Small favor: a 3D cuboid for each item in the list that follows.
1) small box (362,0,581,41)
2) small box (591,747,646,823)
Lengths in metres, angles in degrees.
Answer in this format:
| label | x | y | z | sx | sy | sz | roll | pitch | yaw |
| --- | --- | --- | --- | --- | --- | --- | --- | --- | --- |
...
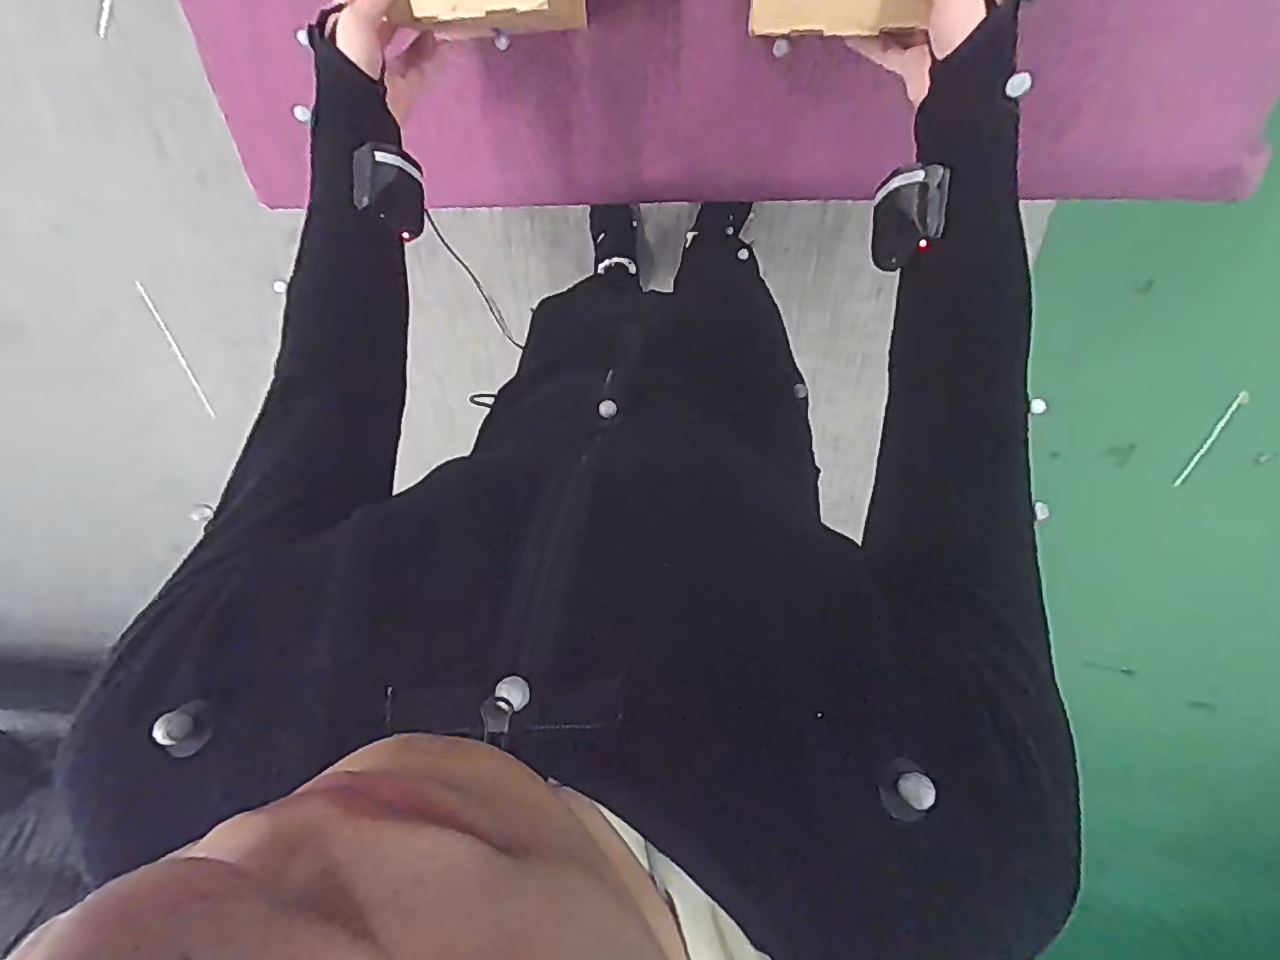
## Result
| label | x | y | z | sx | sy | sz | roll | pitch | yaw |
| --- | --- | --- | --- | --- | --- | --- | --- | --- | --- |
| small box | -0.156 | -0.518 | 0.488 | 0.168 | 0.176 | 0.179 | 1 | 126 | 7 |
| small box | -0.073 | 1.072 | 1.905 | 0.168 | 0.176 | 0.179 | 9 | 127 | 2 |
